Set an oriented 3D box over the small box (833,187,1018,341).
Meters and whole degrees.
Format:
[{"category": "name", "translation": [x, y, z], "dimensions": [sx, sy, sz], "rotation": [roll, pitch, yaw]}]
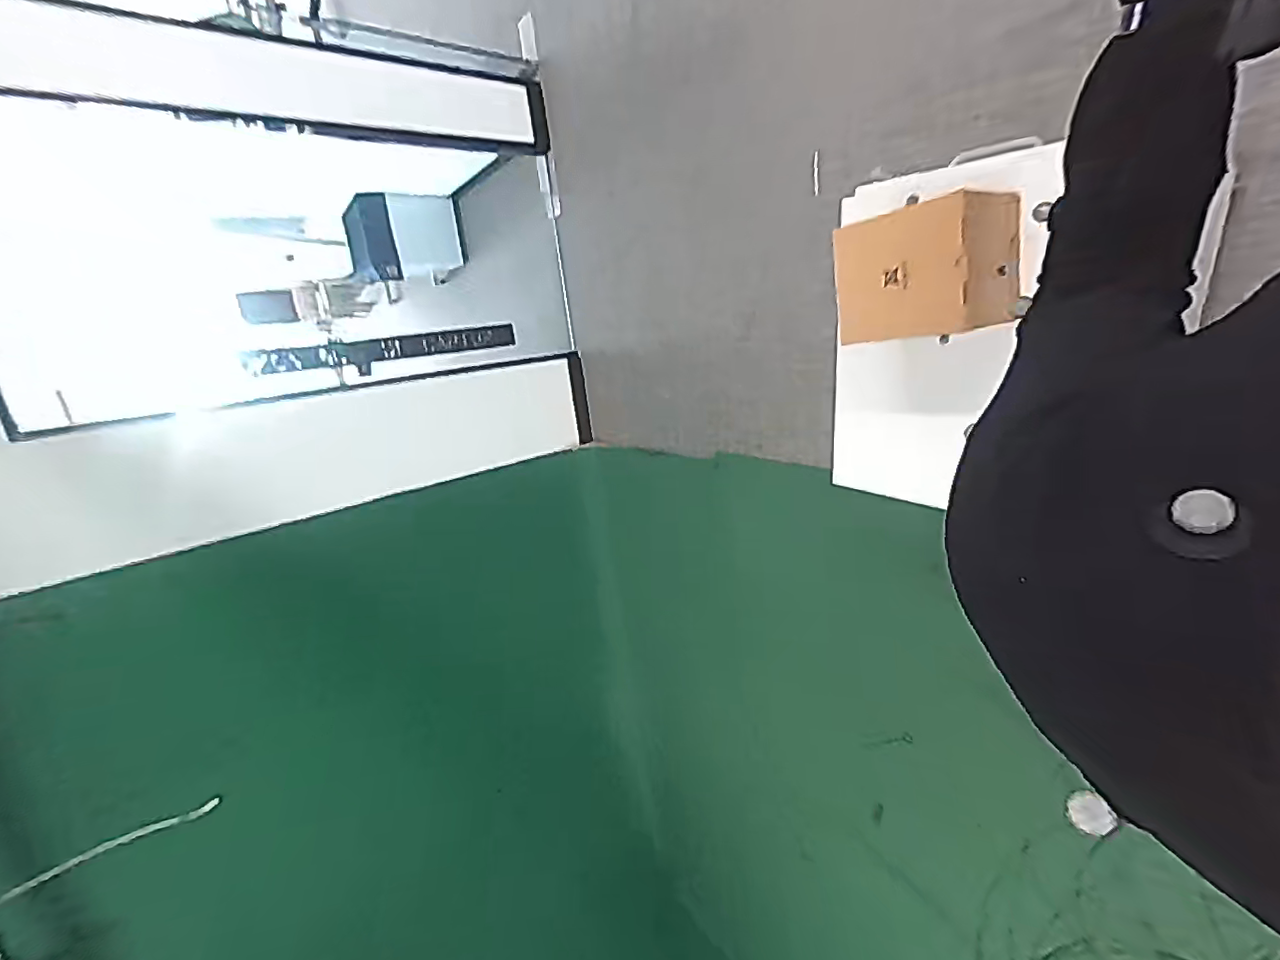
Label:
[{"category": "small box", "translation": [0.402, -0.295, 0.766], "dimensions": [0.179, 0.176, 0.168], "rotation": [8, 111, 52]}]
